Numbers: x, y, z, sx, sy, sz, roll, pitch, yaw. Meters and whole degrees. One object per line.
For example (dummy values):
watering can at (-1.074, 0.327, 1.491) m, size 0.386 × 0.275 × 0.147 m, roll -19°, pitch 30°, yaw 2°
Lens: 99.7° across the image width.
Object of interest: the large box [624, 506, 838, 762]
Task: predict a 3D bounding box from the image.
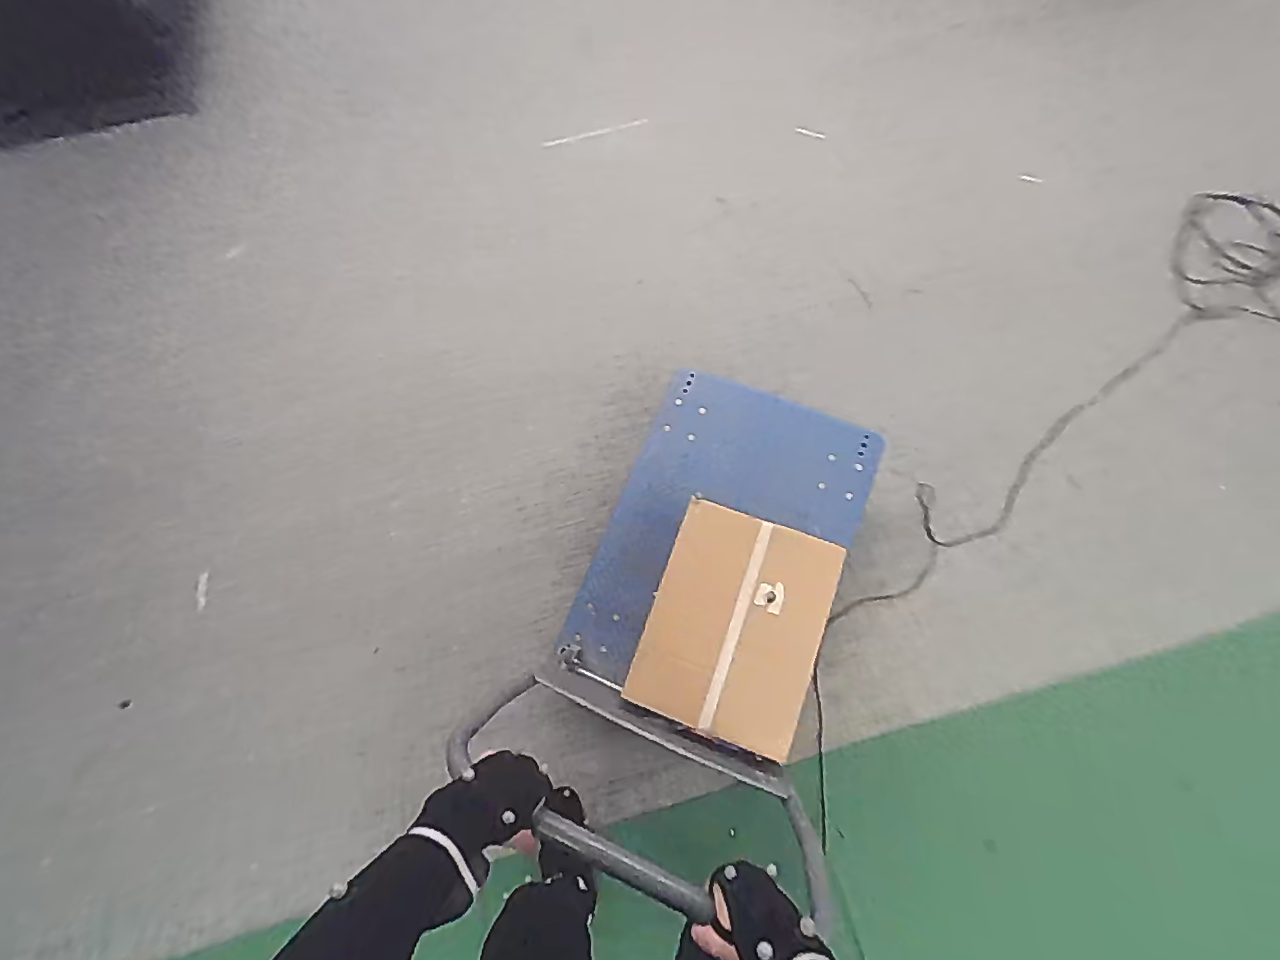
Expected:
large box at (0.189, 0.320, 1.172) m, size 0.320 × 0.320 × 0.408 m, roll 20°, pitch 77°, yaw 9°
